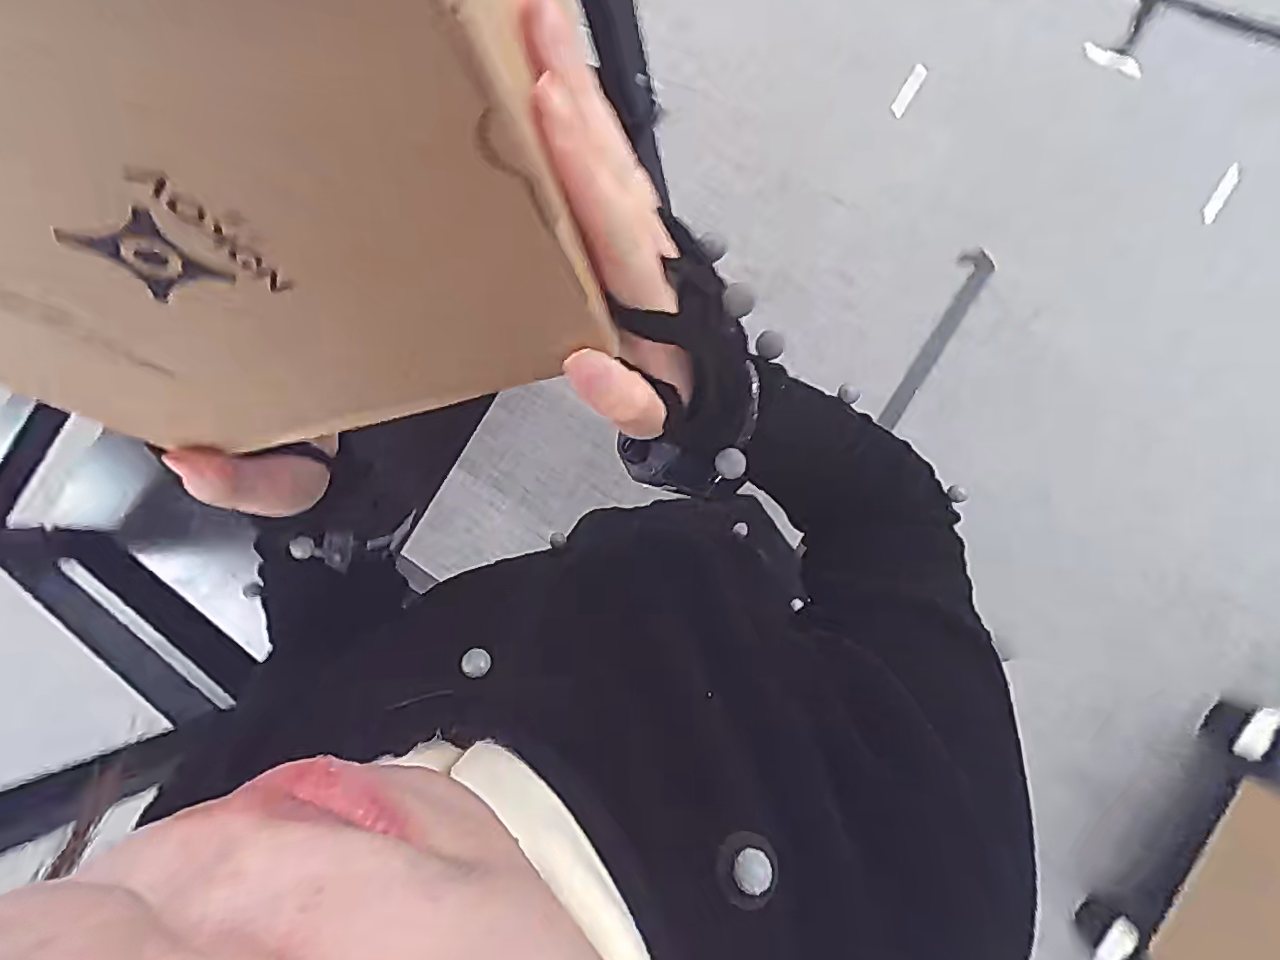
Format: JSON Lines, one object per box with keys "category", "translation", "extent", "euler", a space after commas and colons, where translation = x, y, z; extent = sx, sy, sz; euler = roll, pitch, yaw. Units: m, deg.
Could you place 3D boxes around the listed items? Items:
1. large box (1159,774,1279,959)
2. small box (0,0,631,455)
{"category": "large box", "translation": [1.212, 0.807, 0.897], "extent": [0.320, 0.320, 0.408], "euler": [28, 89, 11]}
{"category": "small box", "translation": [-0.112, -0.128, 0.152], "extent": [0.179, 0.168, 0.176], "euler": [-10, 67, 9]}
